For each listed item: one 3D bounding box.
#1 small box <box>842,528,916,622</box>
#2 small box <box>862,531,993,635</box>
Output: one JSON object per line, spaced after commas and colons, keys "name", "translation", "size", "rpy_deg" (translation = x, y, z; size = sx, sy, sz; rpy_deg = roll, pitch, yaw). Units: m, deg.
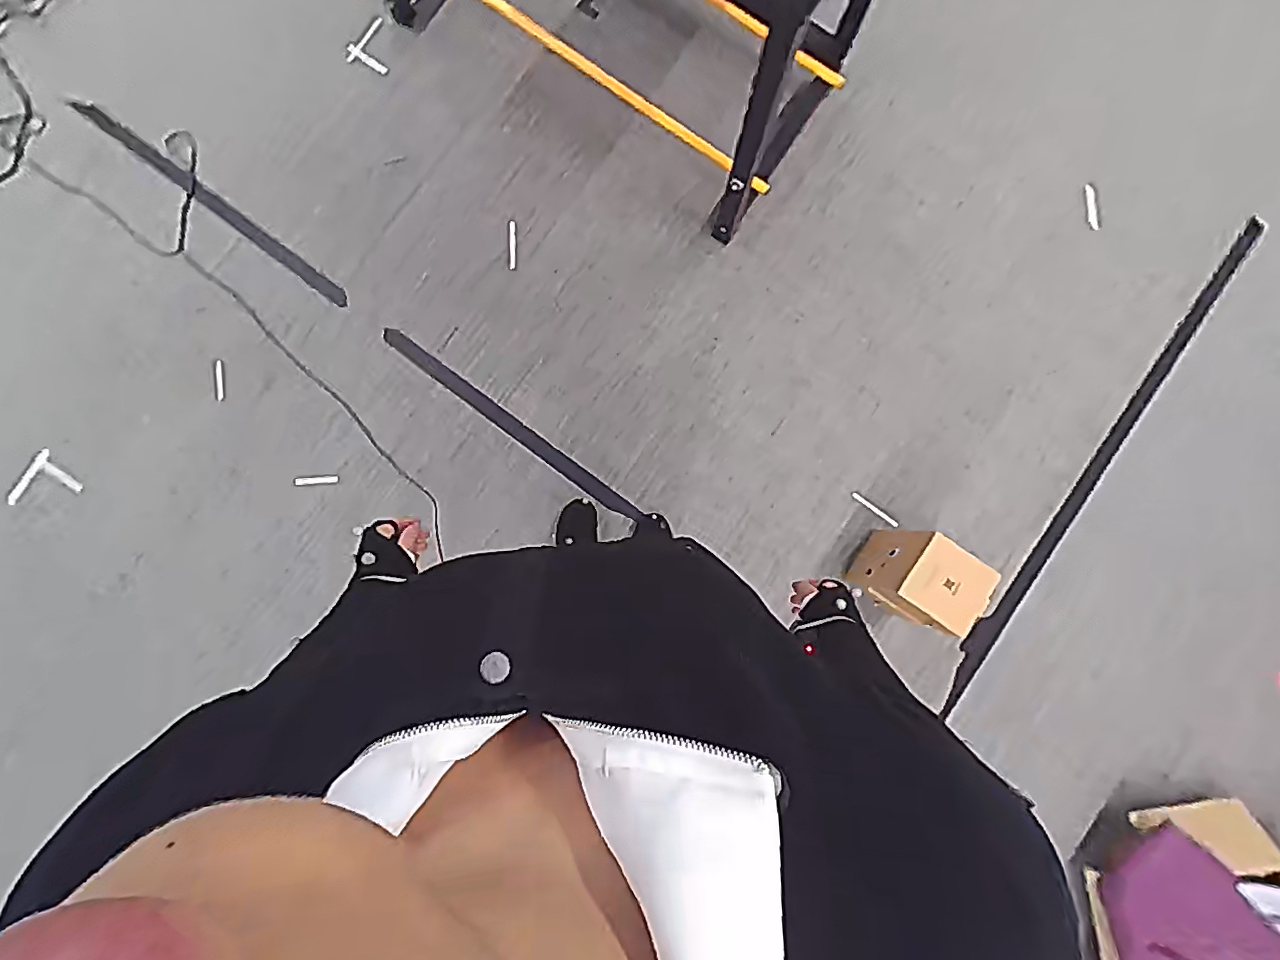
{"name": "small box", "translation": [0.661, 0.243, 1.425], "size": [0.168, 0.176, 0.179], "rpy_deg": [34, 87, 1]}
{"name": "small box", "translation": [0.661, 0.229, 1.263], "size": [0.179, 0.176, 0.168], "rpy_deg": [35, 86, 2]}
